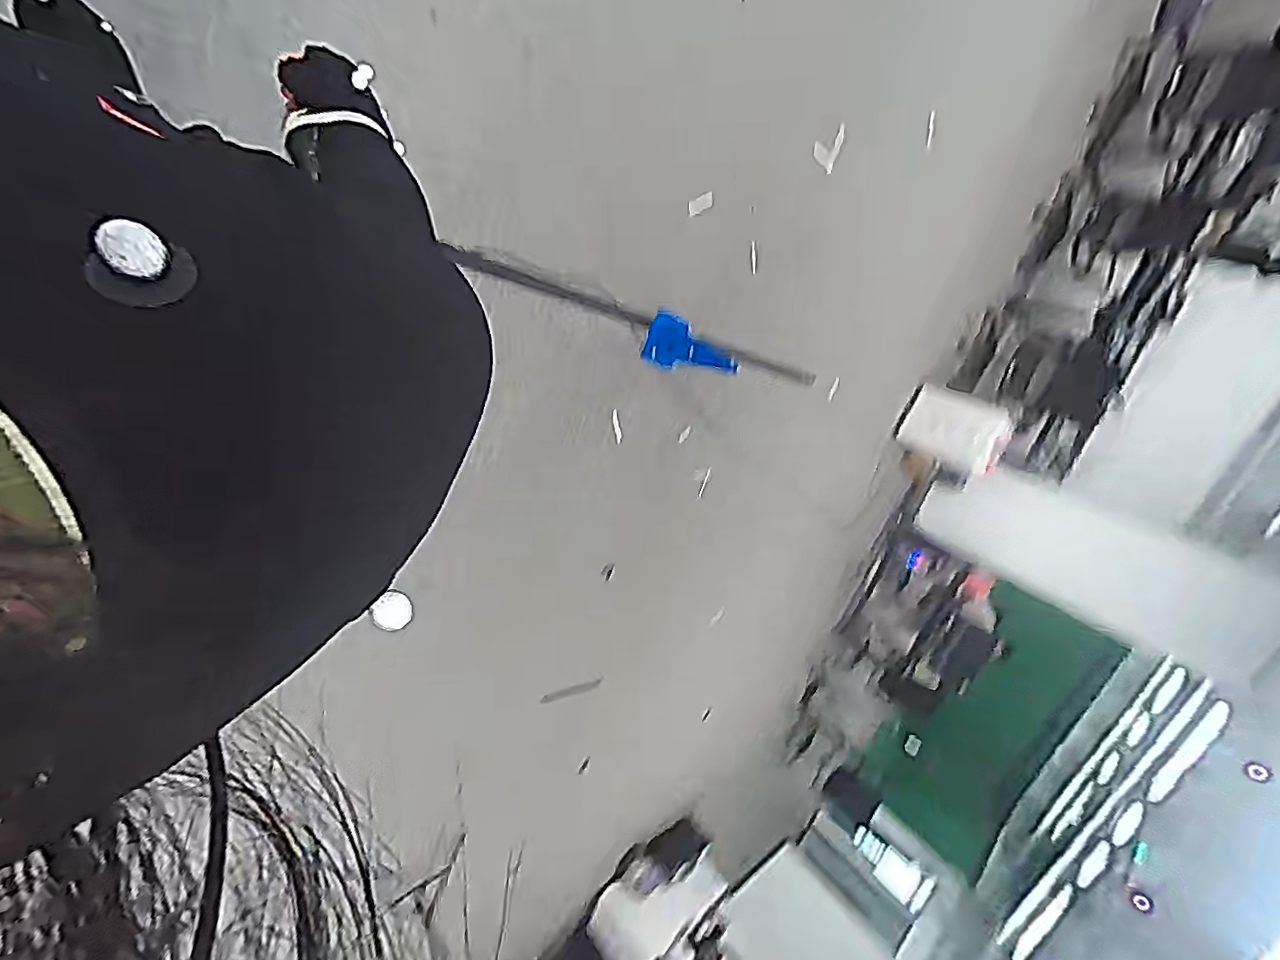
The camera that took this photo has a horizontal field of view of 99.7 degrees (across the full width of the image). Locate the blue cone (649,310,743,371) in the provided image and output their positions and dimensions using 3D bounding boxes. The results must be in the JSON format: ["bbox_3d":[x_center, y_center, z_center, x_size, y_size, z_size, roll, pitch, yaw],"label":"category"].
[{"bbox_3d":[0.231,-0.474,1.979,0.192,0.380,0.193,4,114,-48],"label":"blue cone"}]
